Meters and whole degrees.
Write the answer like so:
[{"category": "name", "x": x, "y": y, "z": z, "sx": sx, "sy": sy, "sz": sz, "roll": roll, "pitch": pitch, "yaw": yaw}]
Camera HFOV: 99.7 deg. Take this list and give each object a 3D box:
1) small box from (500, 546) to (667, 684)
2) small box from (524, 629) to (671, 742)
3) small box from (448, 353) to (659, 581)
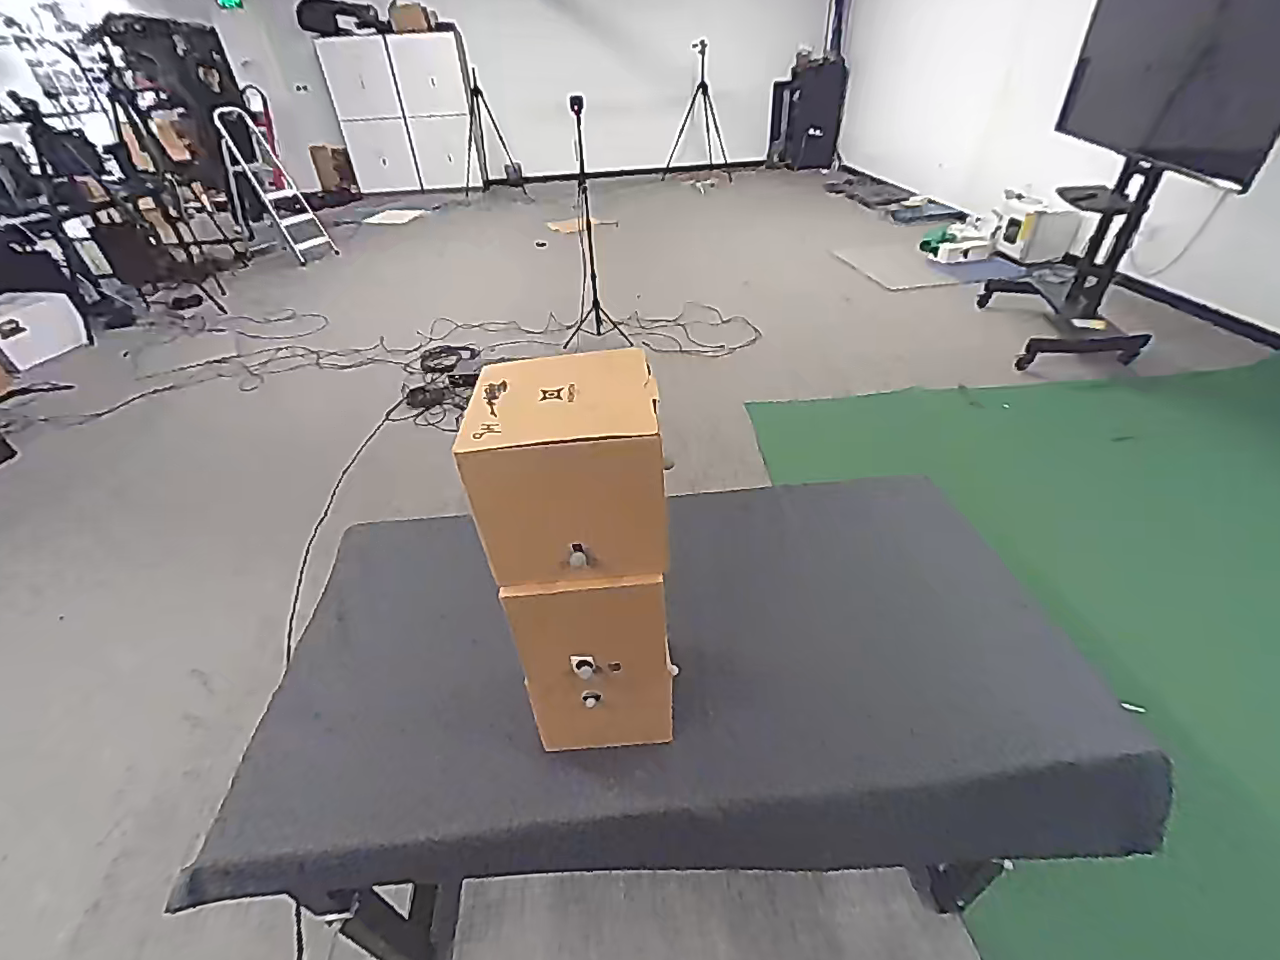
[{"category": "small box", "x": -0.059, "y": 0.118, "z": 0.653, "sx": 0.168, "sy": 0.176, "sz": 0.179, "roll": -6, "pitch": 39, "yaw": 0}, {"category": "small box", "x": -0.050, "y": 0.245, "z": 0.753, "sx": 0.179, "sy": 0.176, "sz": 0.168, "roll": -3, "pitch": 38, "yaw": 0}, {"category": "small box", "x": -0.071, "y": -0.014, "z": 0.557, "sx": 0.179, "sy": 0.176, "sz": 0.168, "roll": -5, "pitch": 37, "yaw": 0}]
